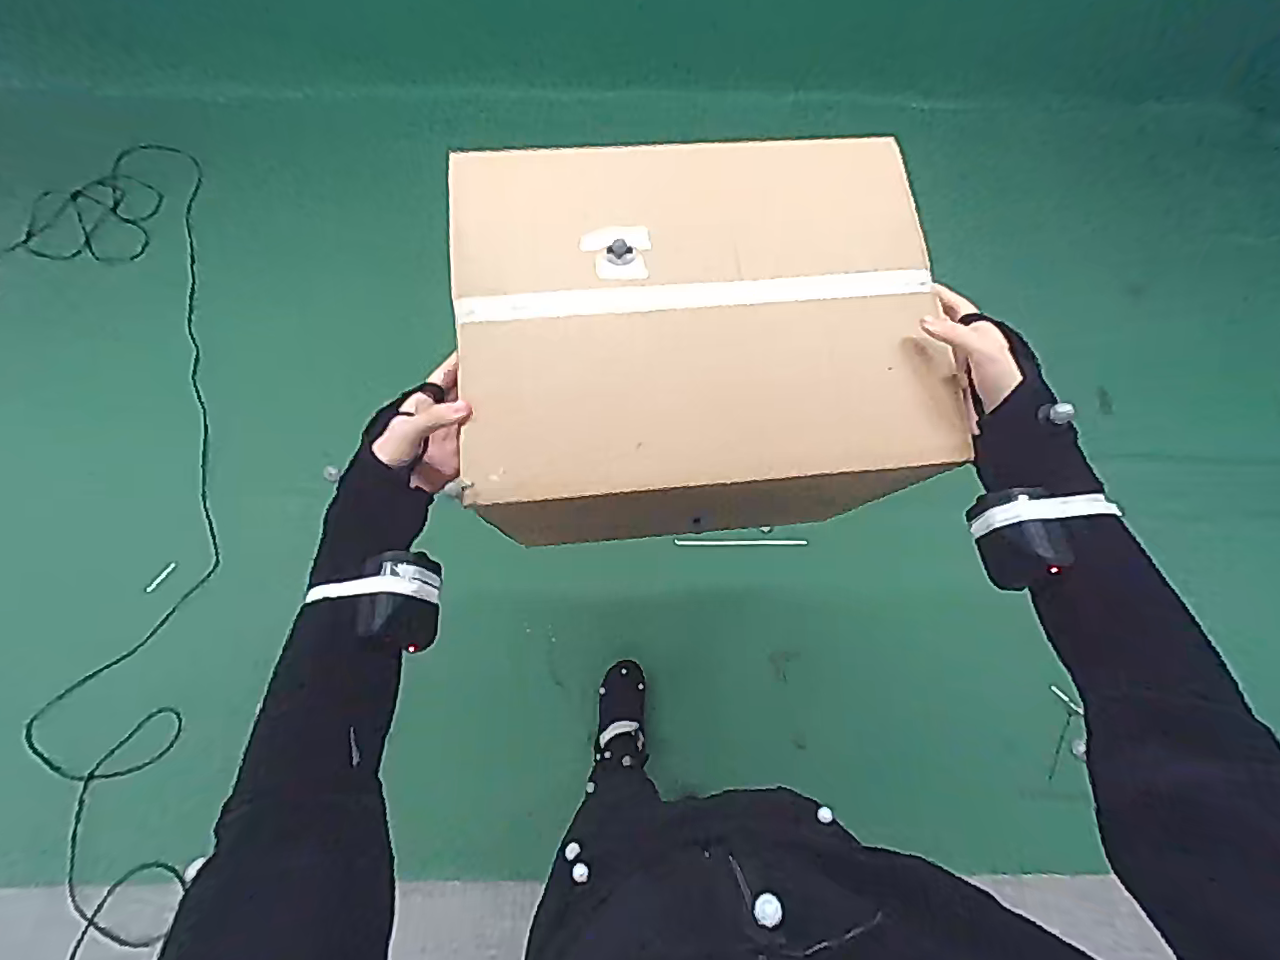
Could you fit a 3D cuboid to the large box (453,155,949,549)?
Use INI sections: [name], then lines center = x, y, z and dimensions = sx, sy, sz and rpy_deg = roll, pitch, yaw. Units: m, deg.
[large box]
center = 0.042, -0.106, 0.614
dimensions = 0.408, 0.320, 0.320
rpy_deg = -6, 77, -3
